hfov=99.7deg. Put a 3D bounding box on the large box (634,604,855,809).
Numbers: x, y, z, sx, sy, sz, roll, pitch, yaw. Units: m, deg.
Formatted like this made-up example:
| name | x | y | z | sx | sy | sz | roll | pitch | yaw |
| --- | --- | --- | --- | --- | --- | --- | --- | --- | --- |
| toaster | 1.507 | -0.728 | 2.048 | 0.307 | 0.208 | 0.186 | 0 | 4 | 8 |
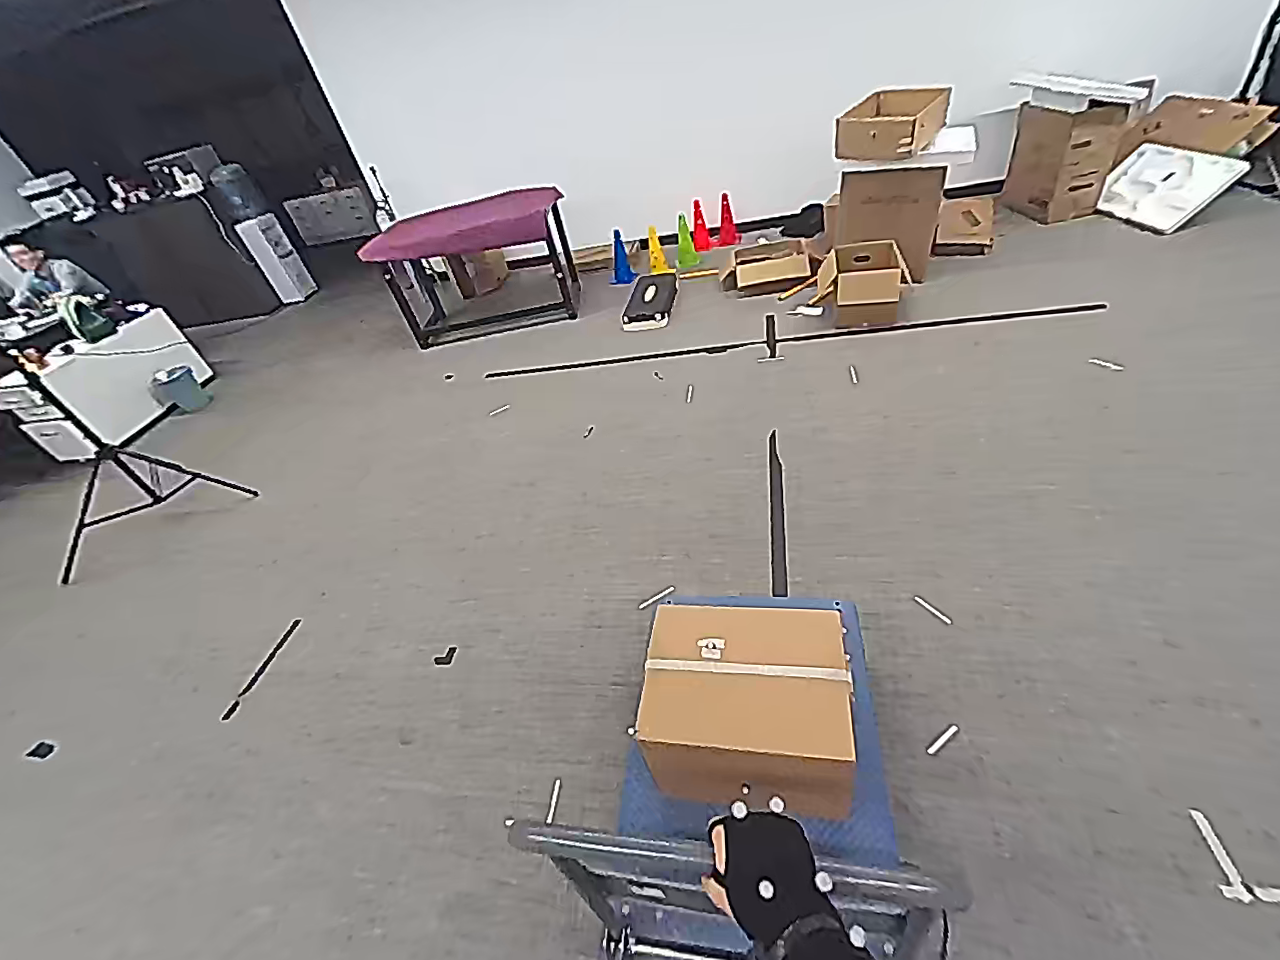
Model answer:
| name | x | y | z | sx | sy | sz | roll | pitch | yaw |
| --- | --- | --- | --- | --- | --- | --- | --- | --- | --- |
| large box | 0.236 | 0.488 | 1.187 | 0.408 | 0.320 | 0.320 | -3 | 40 | 16 |
